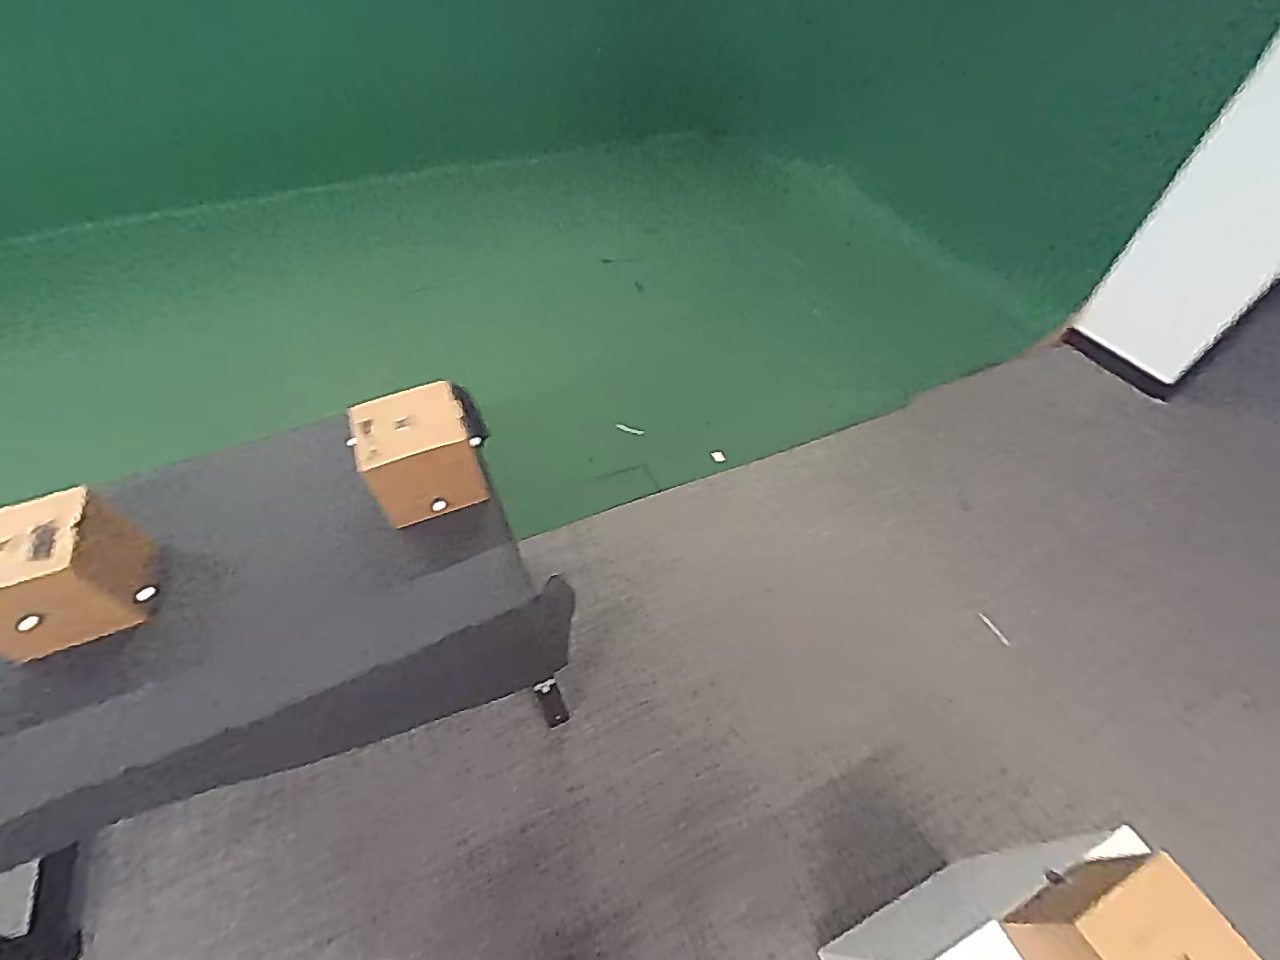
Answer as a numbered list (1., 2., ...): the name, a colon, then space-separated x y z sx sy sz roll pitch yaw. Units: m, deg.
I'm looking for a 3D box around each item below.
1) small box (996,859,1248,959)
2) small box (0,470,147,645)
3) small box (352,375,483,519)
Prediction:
1. small box: 0.589 0.595 0.648 0.168 0.176 0.179 -18 54 -19
2. small box: -0.898 0.117 0.811 0.179 0.176 0.168 -18 53 -16
3. small box: -0.393 -0.058 0.977 0.179 0.176 0.168 -17 53 -16
